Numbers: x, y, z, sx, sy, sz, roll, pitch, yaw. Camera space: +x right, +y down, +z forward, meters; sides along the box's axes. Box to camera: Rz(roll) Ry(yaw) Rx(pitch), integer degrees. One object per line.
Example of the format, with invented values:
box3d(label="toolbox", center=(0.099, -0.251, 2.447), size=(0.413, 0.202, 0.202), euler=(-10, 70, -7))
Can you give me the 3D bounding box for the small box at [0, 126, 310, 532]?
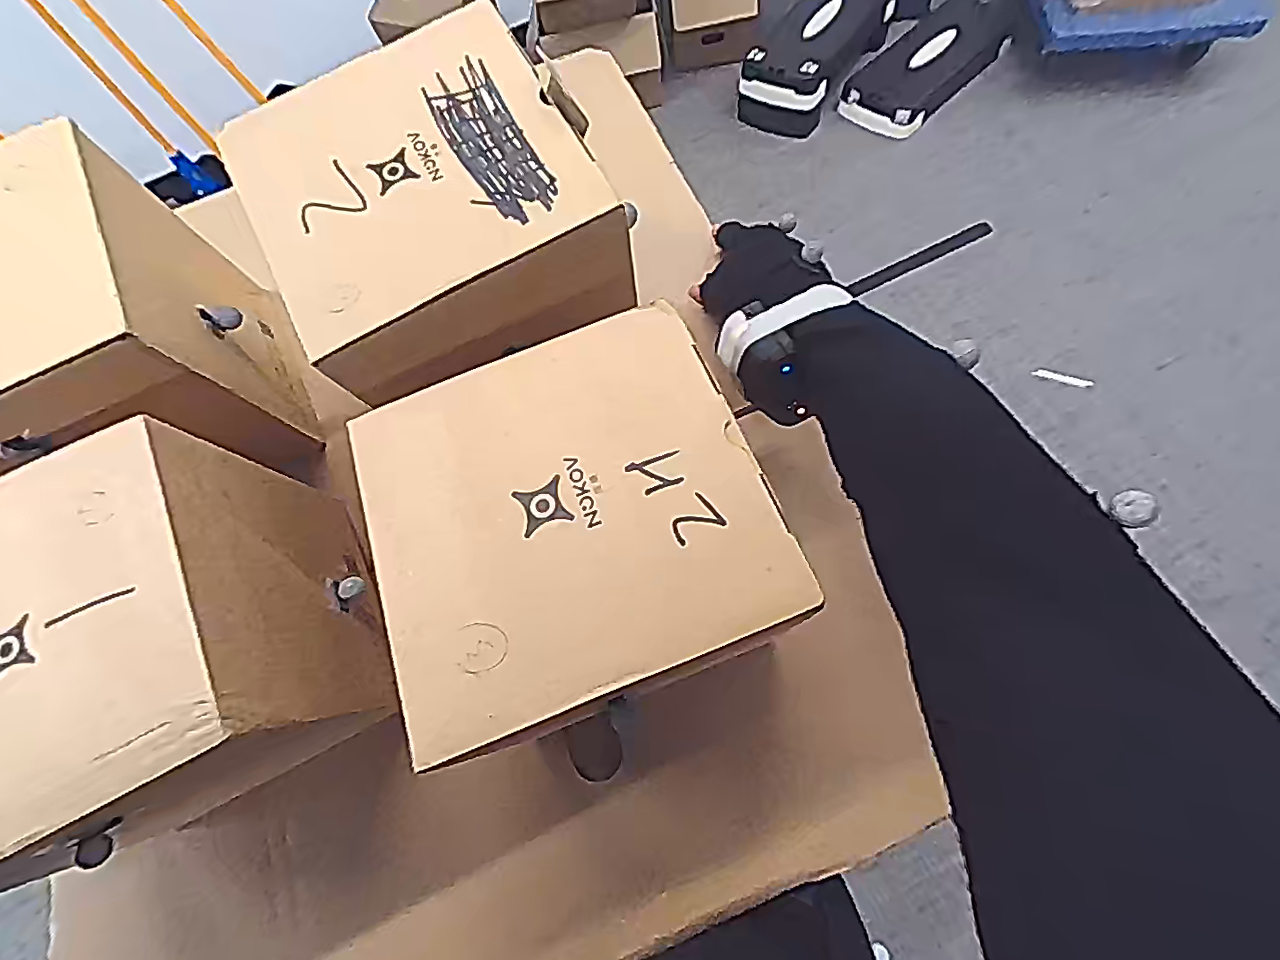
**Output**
box3d(label="small box", center=(-0.365, -0.084, 0.372), size=(0.179, 0.176, 0.168), euler=(-28, 74, -4))
